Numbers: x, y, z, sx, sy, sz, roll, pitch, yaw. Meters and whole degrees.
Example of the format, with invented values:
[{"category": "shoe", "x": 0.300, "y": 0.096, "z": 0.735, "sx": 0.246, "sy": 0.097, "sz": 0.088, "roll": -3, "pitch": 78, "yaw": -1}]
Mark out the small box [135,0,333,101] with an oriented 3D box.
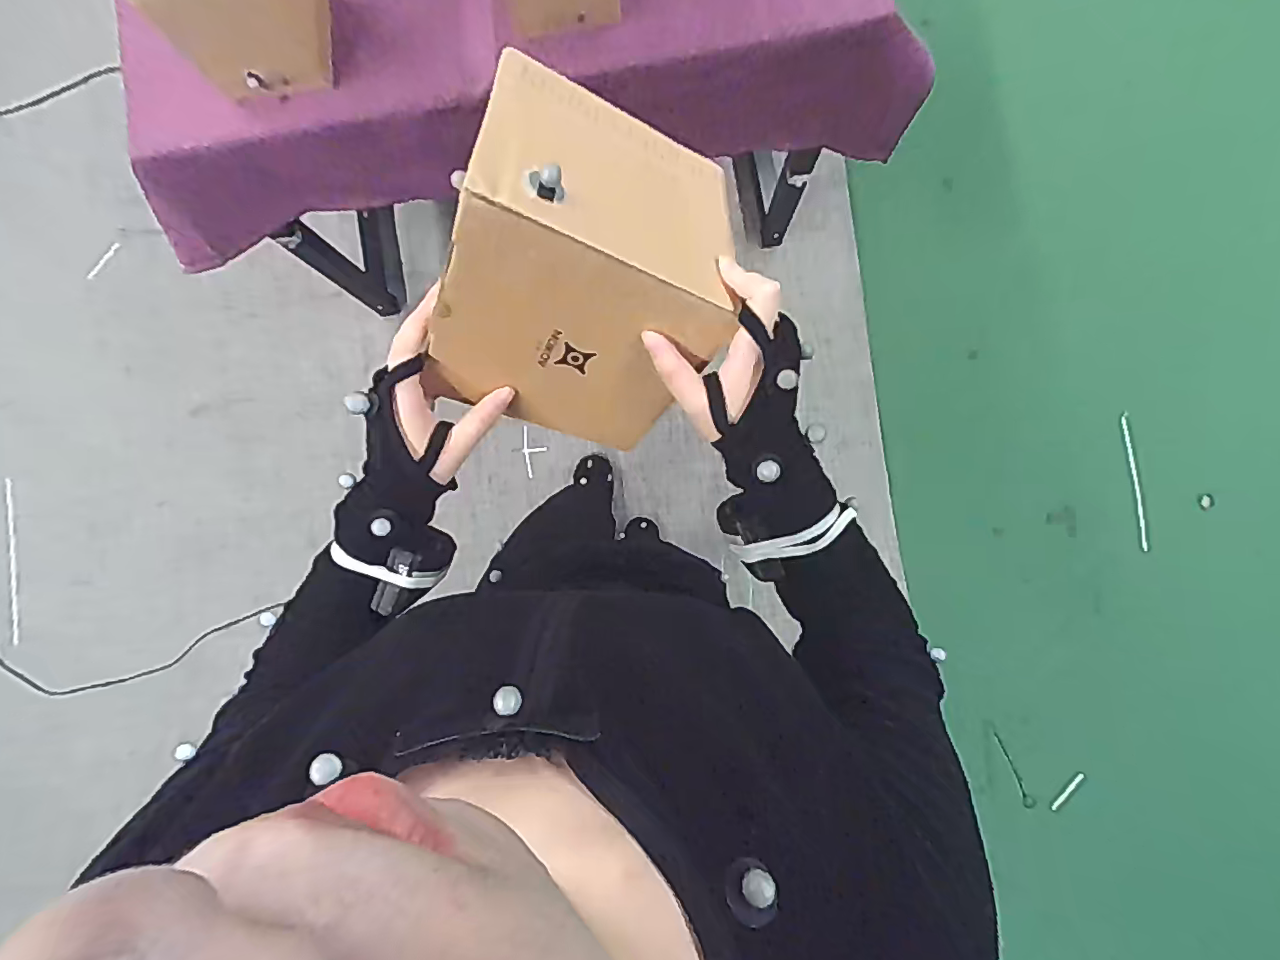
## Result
[{"category": "small box", "x": -0.567, "y": -0.692, "z": 0.774, "sx": 0.168, "sy": 0.176, "sz": 0.179, "roll": -5, "pitch": 87, "yaw": 3}]
